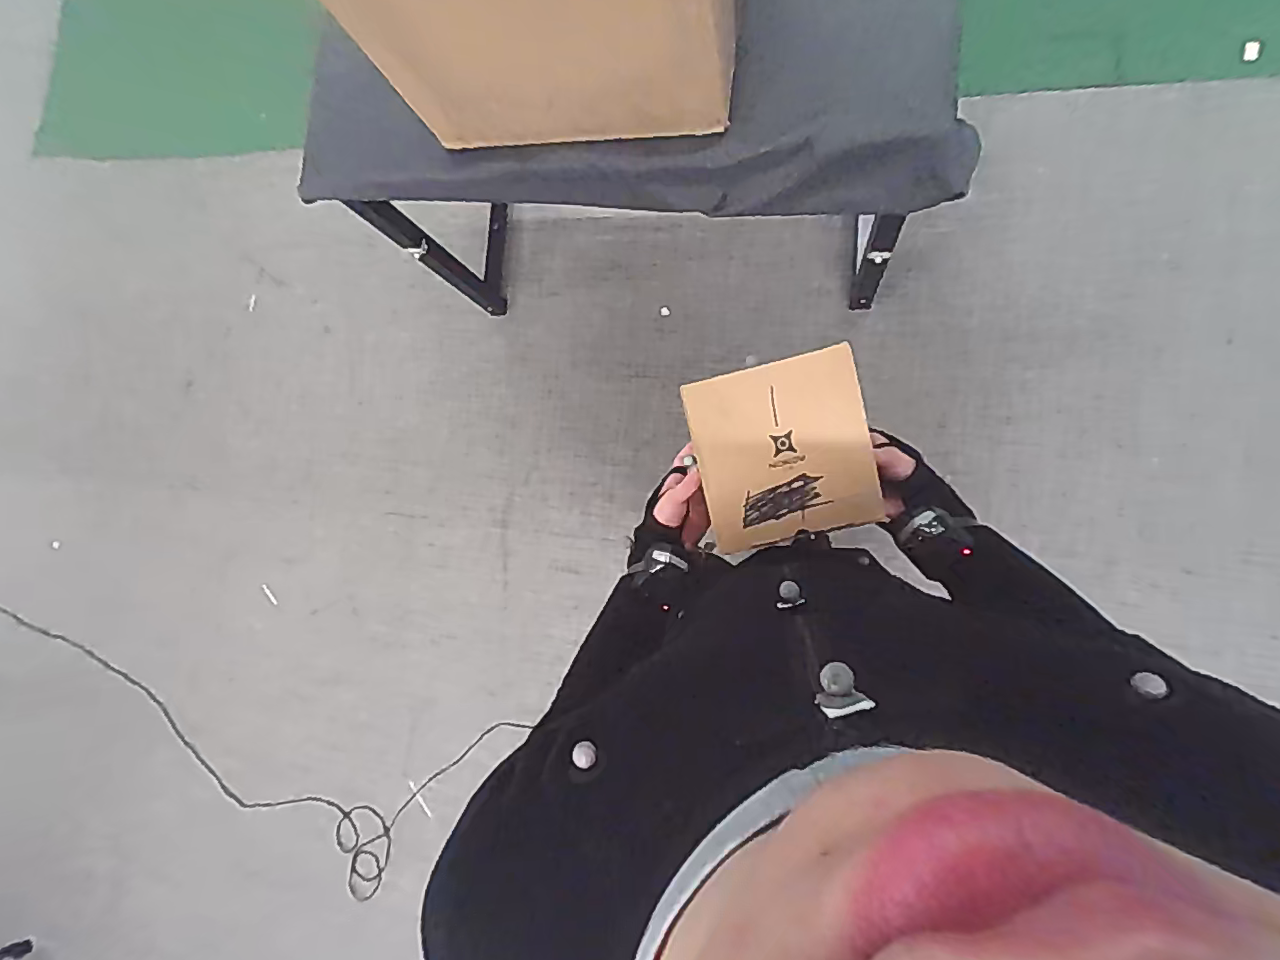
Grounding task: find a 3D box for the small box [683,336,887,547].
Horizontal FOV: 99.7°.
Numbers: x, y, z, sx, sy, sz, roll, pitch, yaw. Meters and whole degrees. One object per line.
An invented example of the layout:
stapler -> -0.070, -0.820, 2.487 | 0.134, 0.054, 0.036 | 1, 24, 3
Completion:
small box -> 0.148, -0.045, 0.601 | 0.168, 0.176, 0.179 | -15, 95, 5
